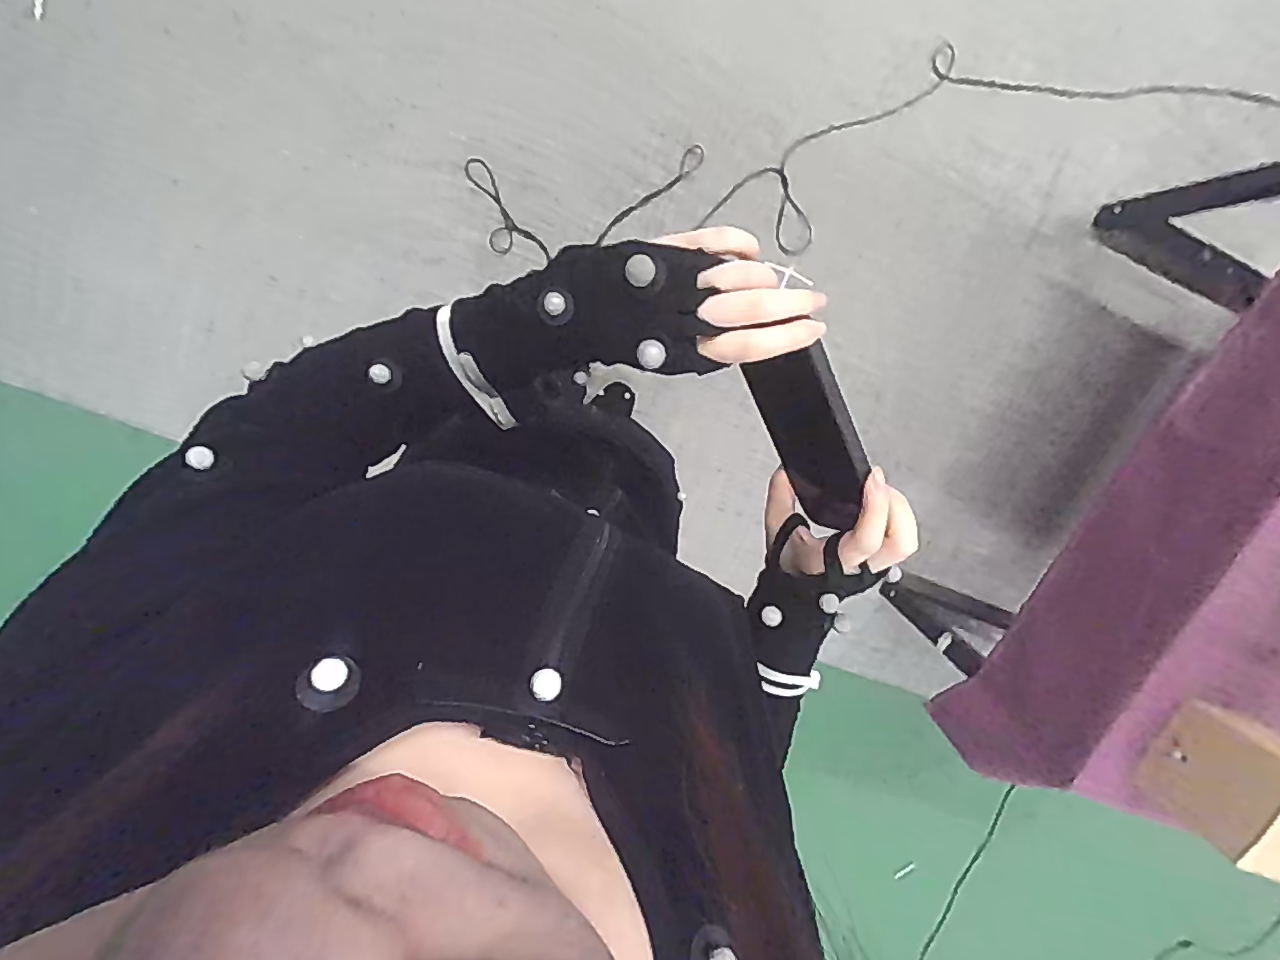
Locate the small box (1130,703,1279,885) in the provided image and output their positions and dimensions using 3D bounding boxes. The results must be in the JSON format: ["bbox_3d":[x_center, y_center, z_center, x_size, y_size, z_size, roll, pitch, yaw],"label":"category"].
[{"bbox_3d":[0.960,0.501,0.871,0.168,0.176,0.179,21,104,-10],"label":"small box"}]
